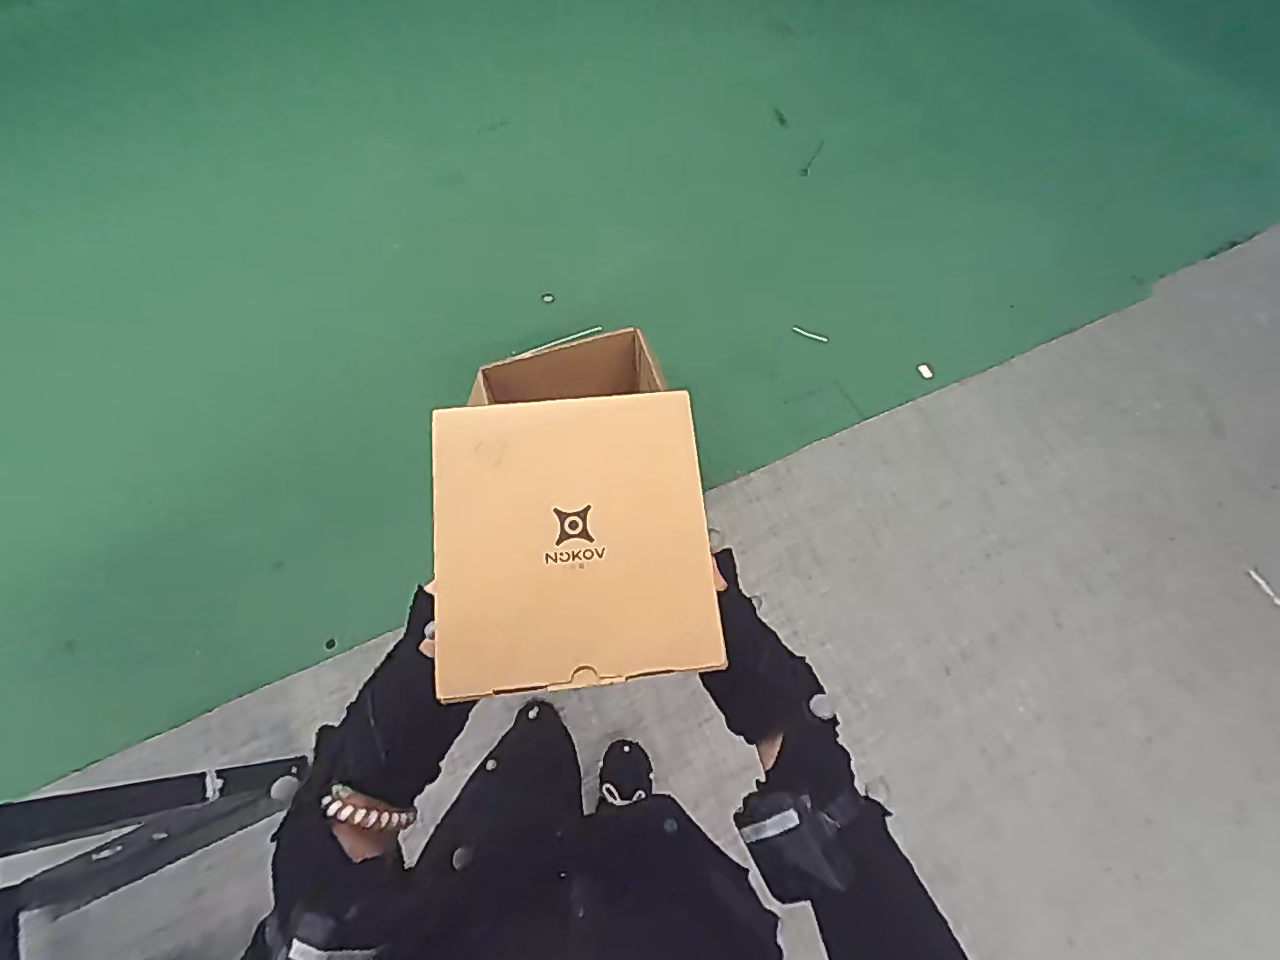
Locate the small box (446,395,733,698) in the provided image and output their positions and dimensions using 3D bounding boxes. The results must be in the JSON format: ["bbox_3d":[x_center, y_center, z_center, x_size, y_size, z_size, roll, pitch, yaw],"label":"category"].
[{"bbox_3d":[-0.041,0.052,0.405,0.168,0.176,0.179,-5,77,-6],"label":"small box"}]
